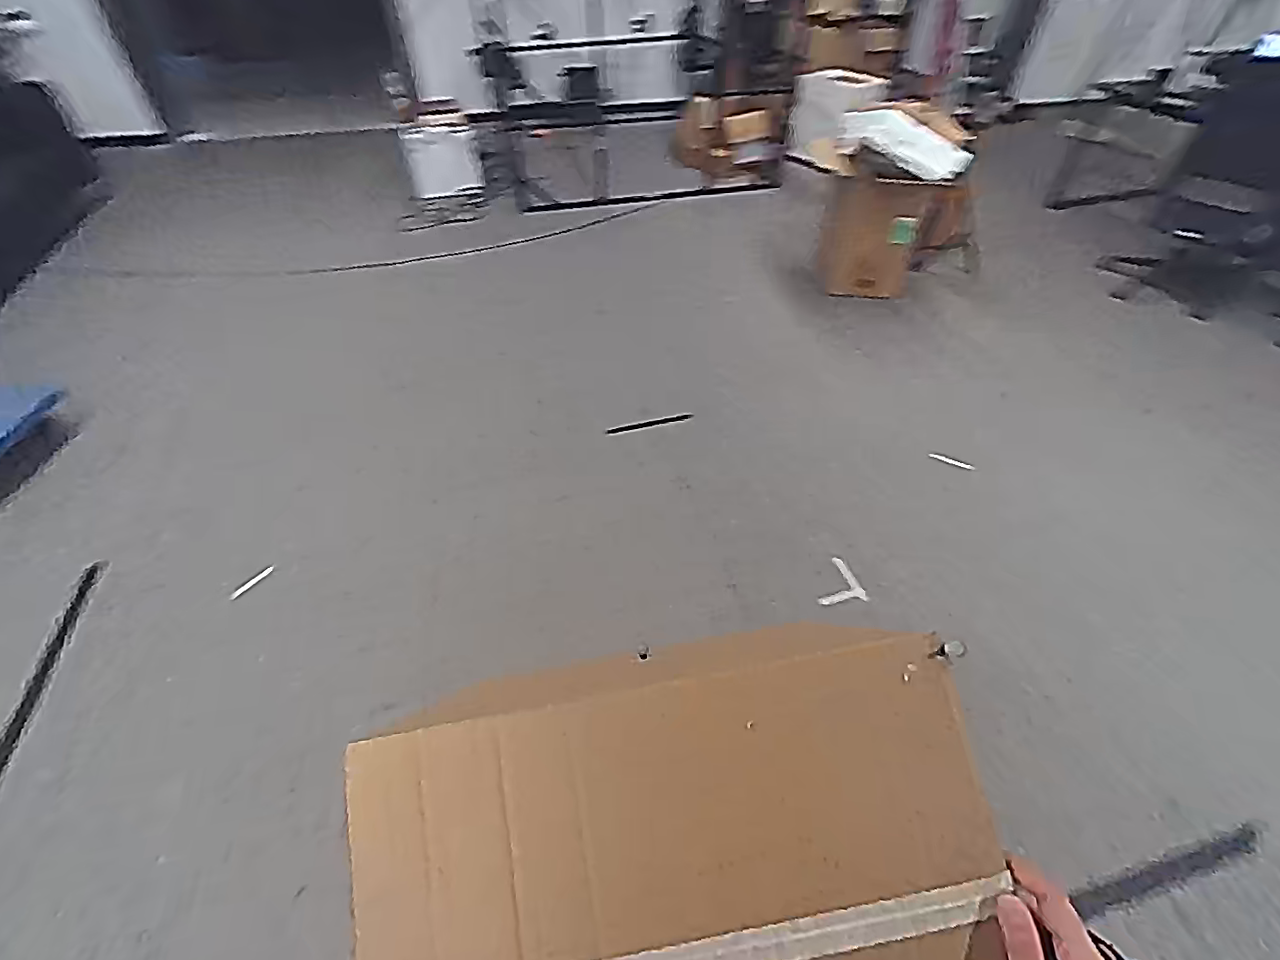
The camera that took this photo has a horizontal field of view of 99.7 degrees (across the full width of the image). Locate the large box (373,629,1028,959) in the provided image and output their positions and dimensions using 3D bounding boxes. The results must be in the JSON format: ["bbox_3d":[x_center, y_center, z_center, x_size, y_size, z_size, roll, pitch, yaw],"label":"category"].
[{"bbox_3d":[0.039,0.328,0.484,0.408,0.320,0.320,-9,78,-2],"label":"large box"}]
